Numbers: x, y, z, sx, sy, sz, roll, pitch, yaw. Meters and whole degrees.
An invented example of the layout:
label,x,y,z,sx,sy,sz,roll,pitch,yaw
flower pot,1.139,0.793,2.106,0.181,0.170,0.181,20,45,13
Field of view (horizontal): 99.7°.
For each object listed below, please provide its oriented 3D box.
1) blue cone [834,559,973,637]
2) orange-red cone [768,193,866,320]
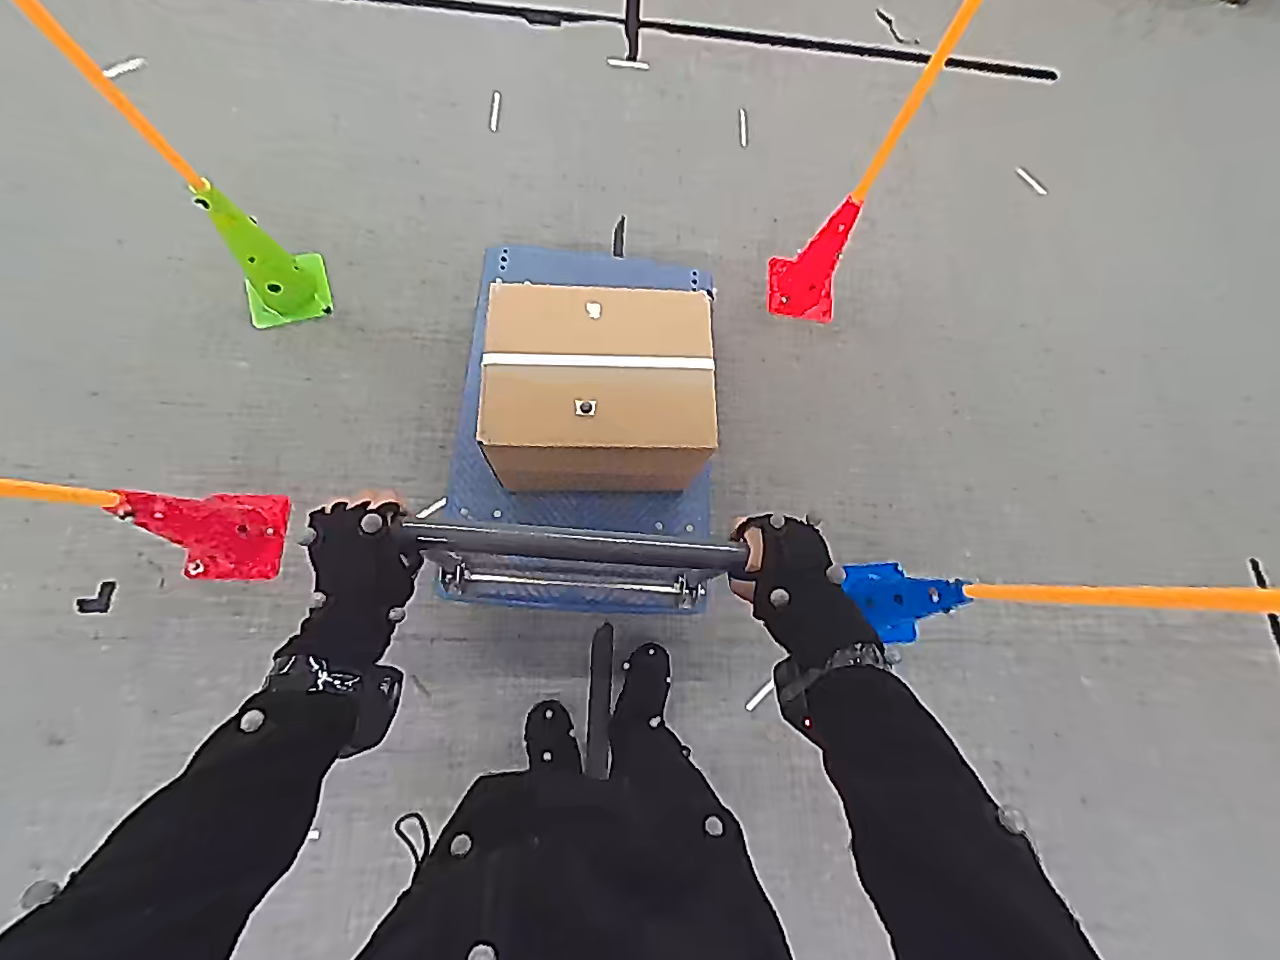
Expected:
label,x,y,z,sx,sy,sz,roll,pitch,yaw
blue cone,0.617,0.252,1.226,0.193,0.380,0.192,-1,73,-7
orange-red cone,0.504,-0.622,1.454,0.199,0.360,0.198,9,74,-5
